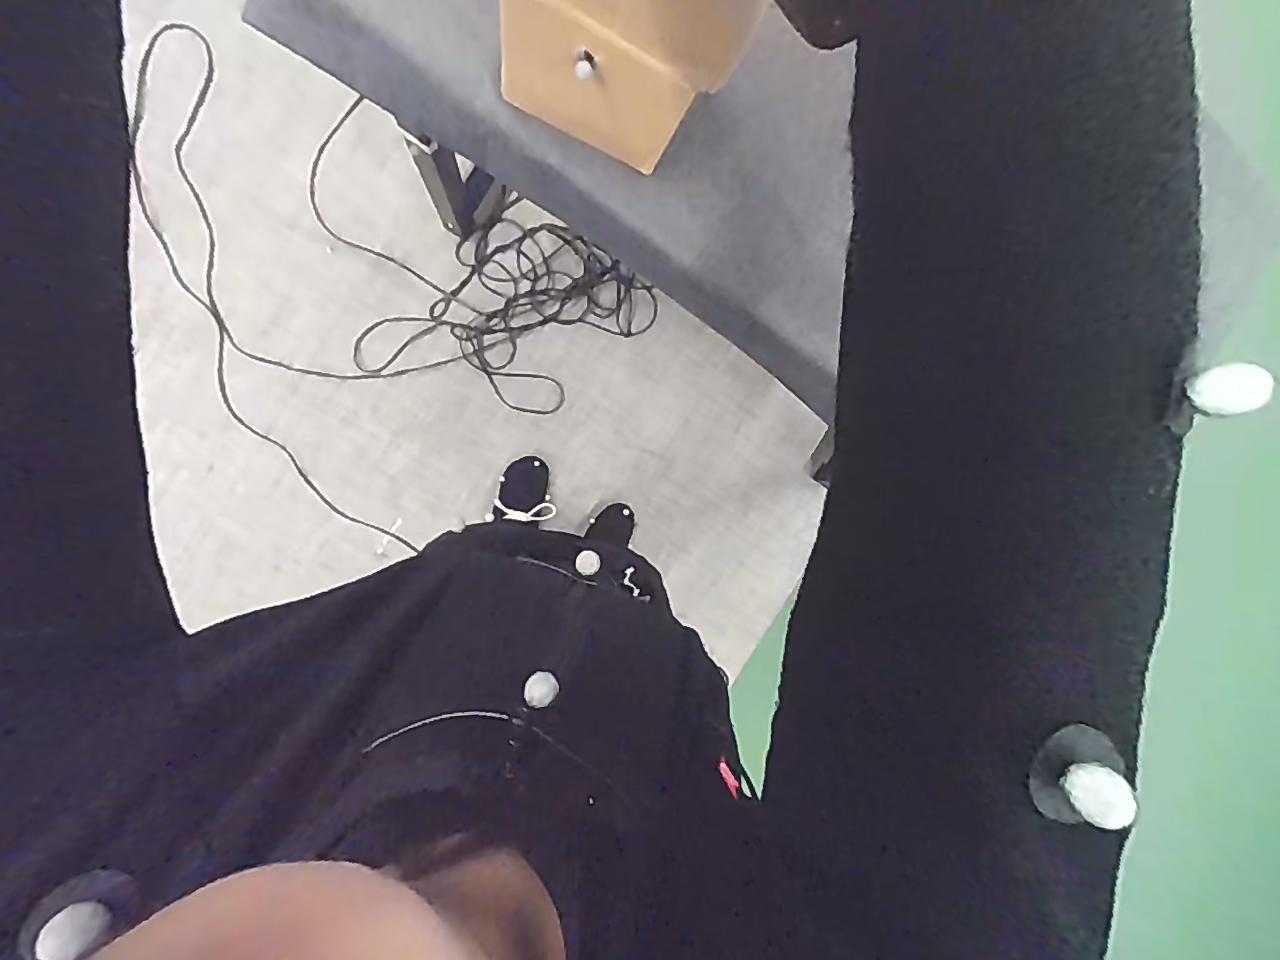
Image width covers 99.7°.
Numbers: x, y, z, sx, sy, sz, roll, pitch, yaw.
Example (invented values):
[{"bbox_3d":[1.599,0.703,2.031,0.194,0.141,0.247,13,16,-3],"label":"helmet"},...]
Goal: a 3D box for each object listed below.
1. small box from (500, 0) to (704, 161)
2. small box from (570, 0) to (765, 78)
[{"bbox_3d":[-0.018,-0.441,0.509,0.179,0.176,0.168,21,91,-14],"label":"small box"},{"bbox_3d":[0.033,-0.422,0.355,0.179,0.176,0.168,22,92,-14],"label":"small box"}]
